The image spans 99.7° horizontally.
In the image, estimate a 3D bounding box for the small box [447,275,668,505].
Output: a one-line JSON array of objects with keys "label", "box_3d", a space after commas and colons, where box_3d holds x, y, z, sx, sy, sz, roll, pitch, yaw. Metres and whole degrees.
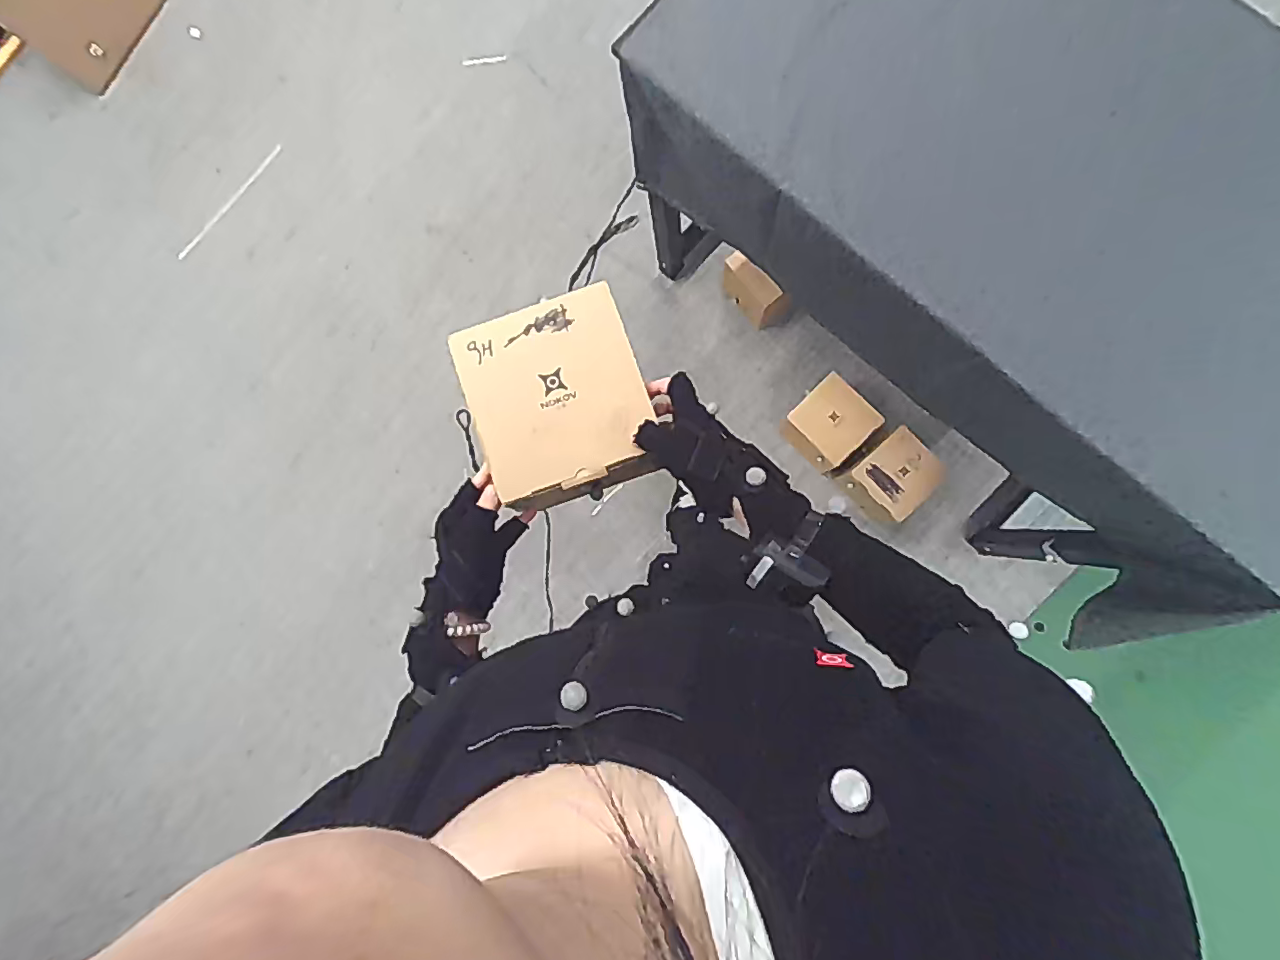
[{"label": "small box", "box_3d": [-0.075, -0.081, 0.577, 0.168, 0.176, 0.179, -19, 86, -1]}]

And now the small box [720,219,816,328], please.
[{"label": "small box", "box_3d": [0.327, -0.537, 1.429, 0.179, 0.176, 0.168, -39, 83, 0]}]
